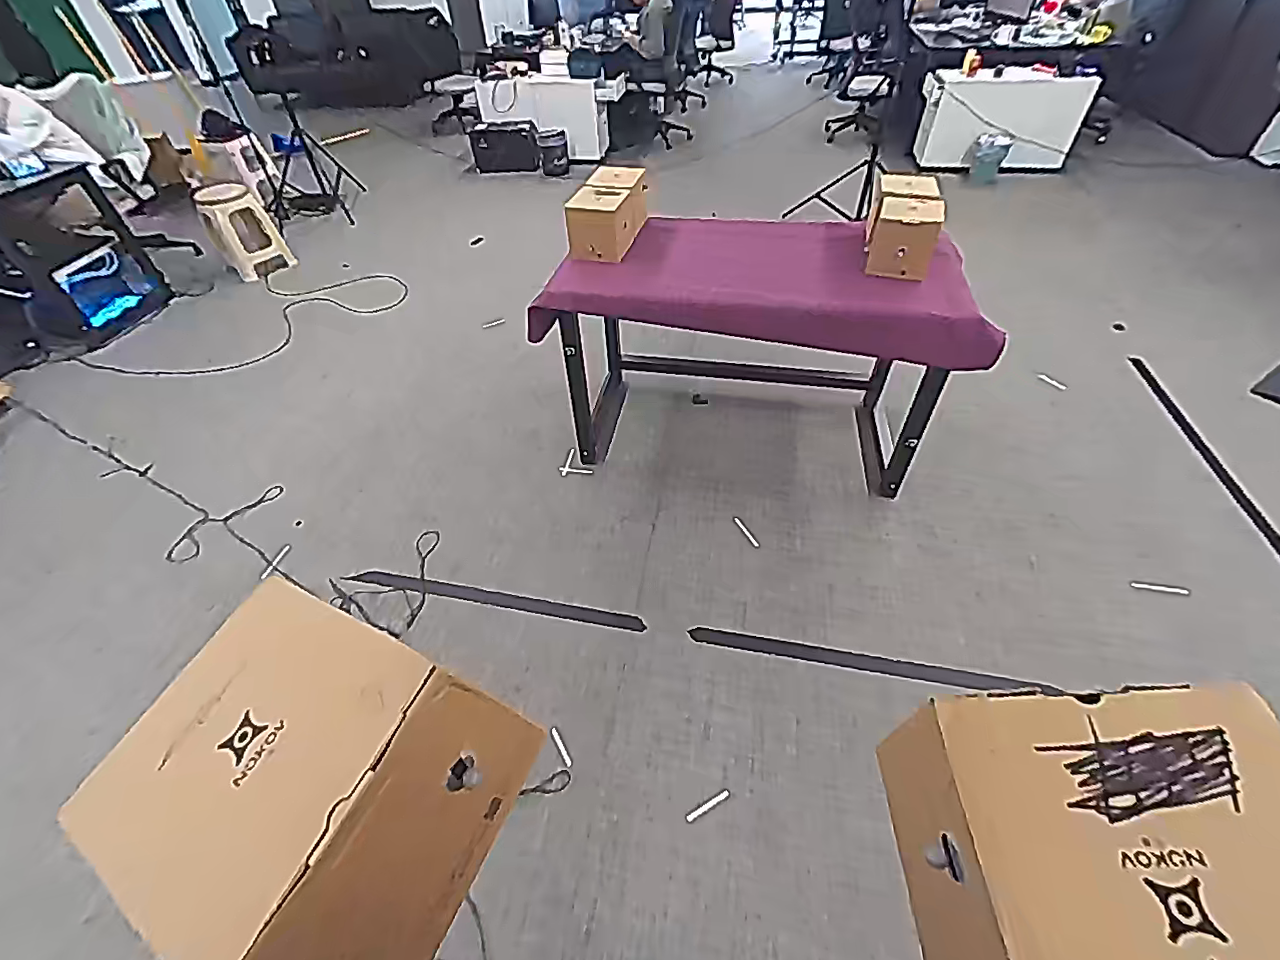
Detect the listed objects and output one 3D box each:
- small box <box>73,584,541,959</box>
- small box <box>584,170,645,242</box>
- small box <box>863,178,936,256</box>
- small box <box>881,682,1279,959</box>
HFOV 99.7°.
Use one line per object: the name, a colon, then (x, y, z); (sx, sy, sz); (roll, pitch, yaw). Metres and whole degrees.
small box: (-0.198, 0.201, 0.371); (0.179, 0.176, 0.168); (13, 57, 27)
small box: (-0.083, -0.947, 1.867); (0.168, 0.176, 0.179); (10, 48, 12)
small box: (0.818, -0.838, 1.721); (0.168, 0.176, 0.179); (10, 47, 11)
small box: (0.261, 0.234, 0.320); (0.168, 0.176, 0.179); (-6, 55, 7)
